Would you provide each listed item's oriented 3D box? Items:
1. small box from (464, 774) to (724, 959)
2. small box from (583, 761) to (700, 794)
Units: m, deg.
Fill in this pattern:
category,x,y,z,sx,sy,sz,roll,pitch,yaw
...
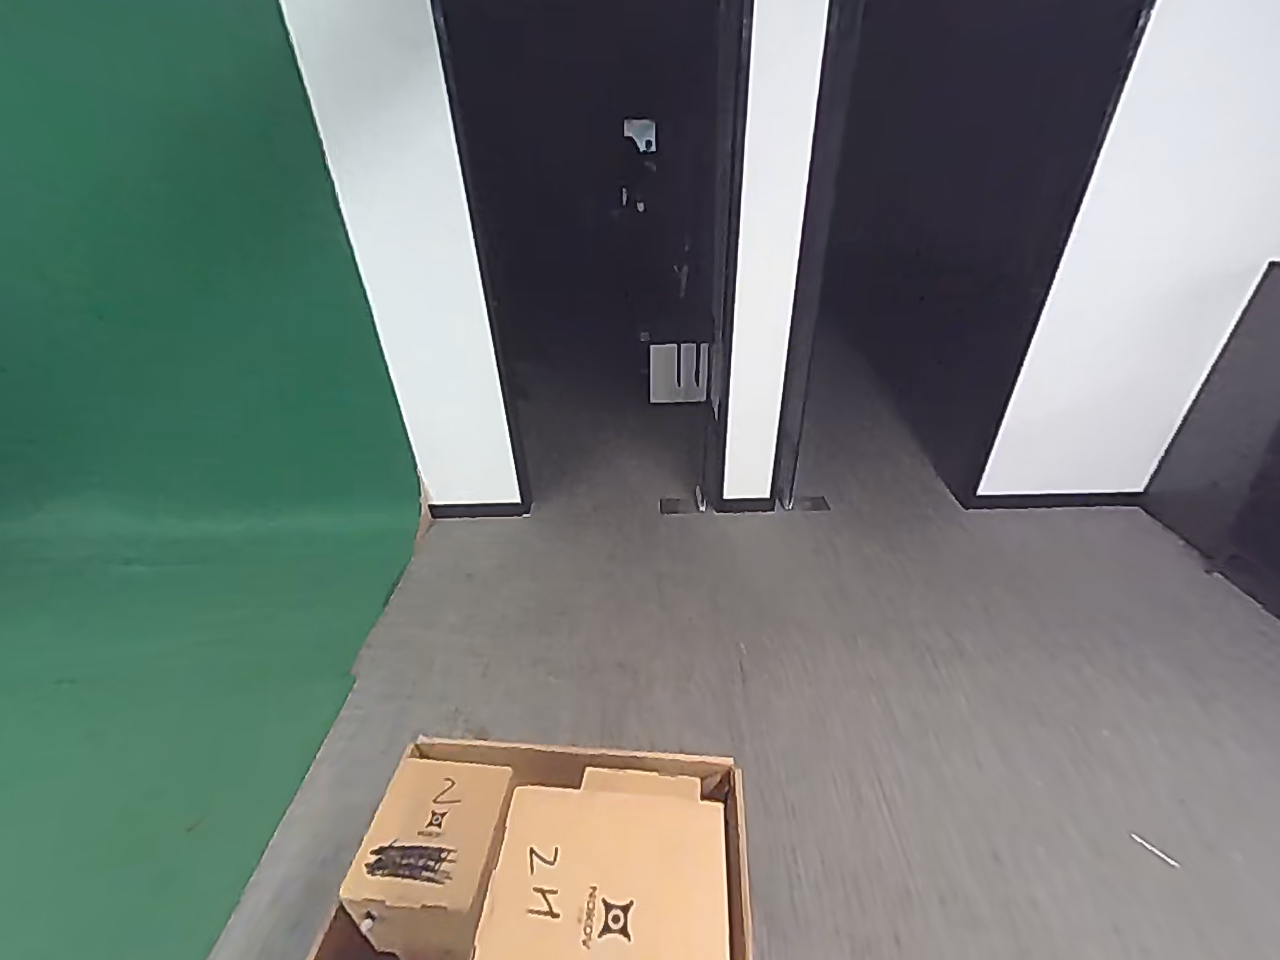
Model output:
category,x,y,z,sx,sy,sz,roll,pitch,yaw
small box,-0.027,0.366,0.432,0.179,0.176,0.168,2,36,5
small box,-0.006,0.522,0.739,0.168,0.176,0.179,2,34,8
